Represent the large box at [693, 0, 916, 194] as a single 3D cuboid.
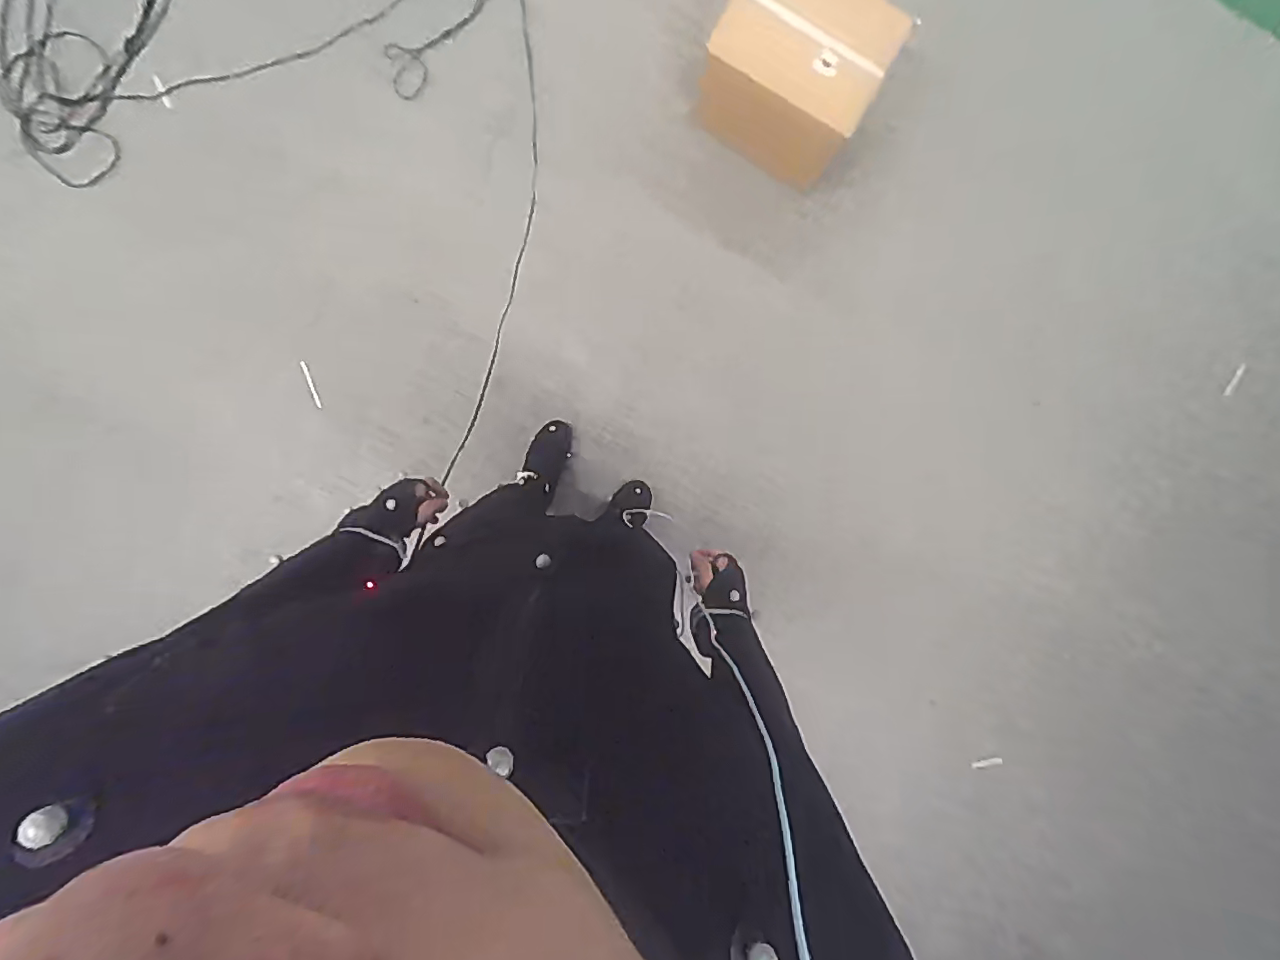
[{"bbox_3d":[0.399,-1.046,1.414,0.408,0.320,0.320,30,93,-4],"label":"large box"}]
